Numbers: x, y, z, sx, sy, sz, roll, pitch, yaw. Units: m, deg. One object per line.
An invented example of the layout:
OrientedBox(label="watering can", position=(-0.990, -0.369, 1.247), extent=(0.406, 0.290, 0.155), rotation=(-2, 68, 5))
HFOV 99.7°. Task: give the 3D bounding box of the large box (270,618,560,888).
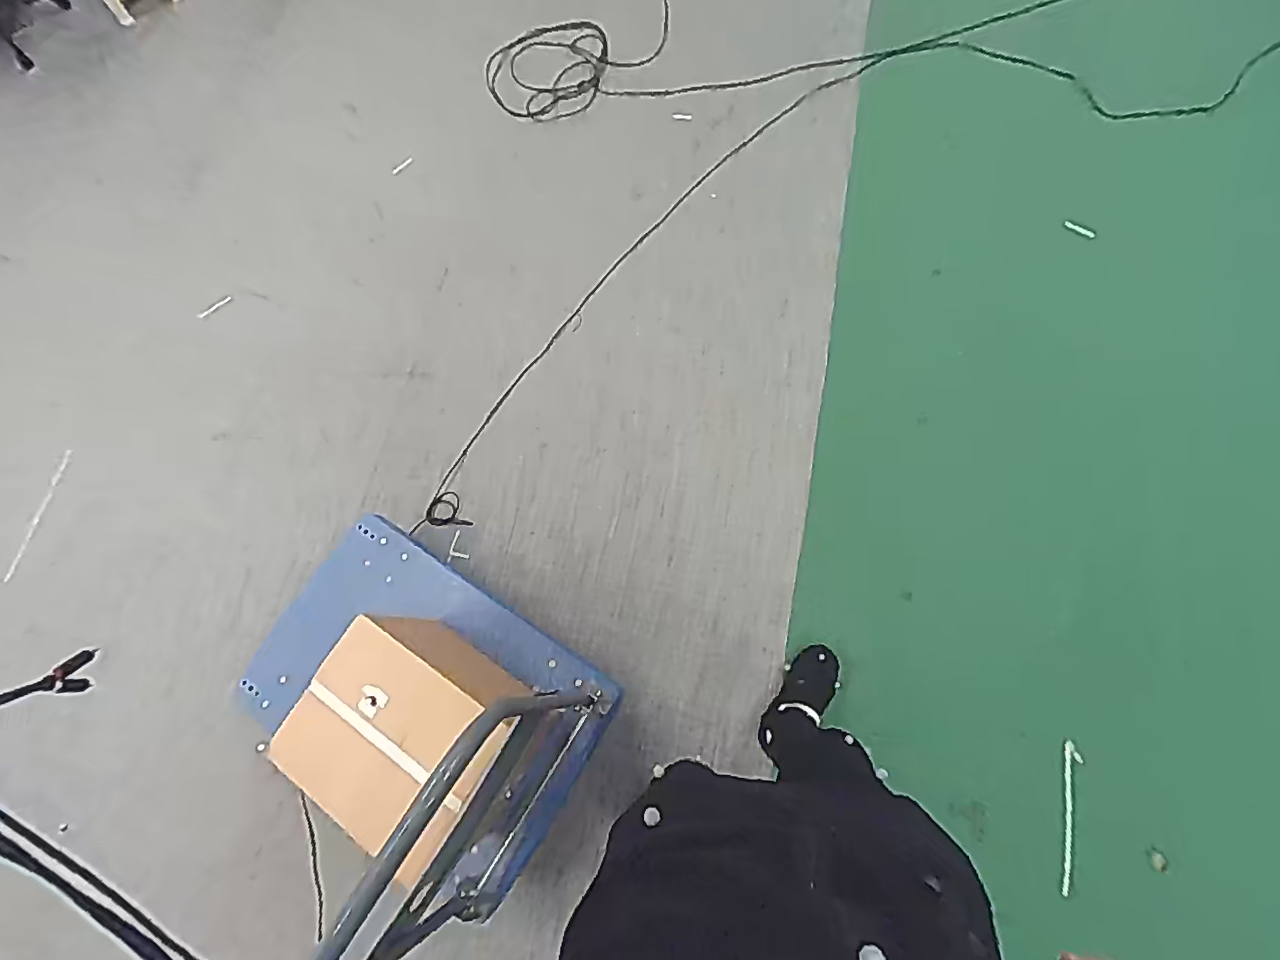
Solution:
OrientedBox(label="large box", position=(-0.448, 0.536, 1.154), extent=(0.408, 0.320, 0.320), rotation=(29, 79, 17))
